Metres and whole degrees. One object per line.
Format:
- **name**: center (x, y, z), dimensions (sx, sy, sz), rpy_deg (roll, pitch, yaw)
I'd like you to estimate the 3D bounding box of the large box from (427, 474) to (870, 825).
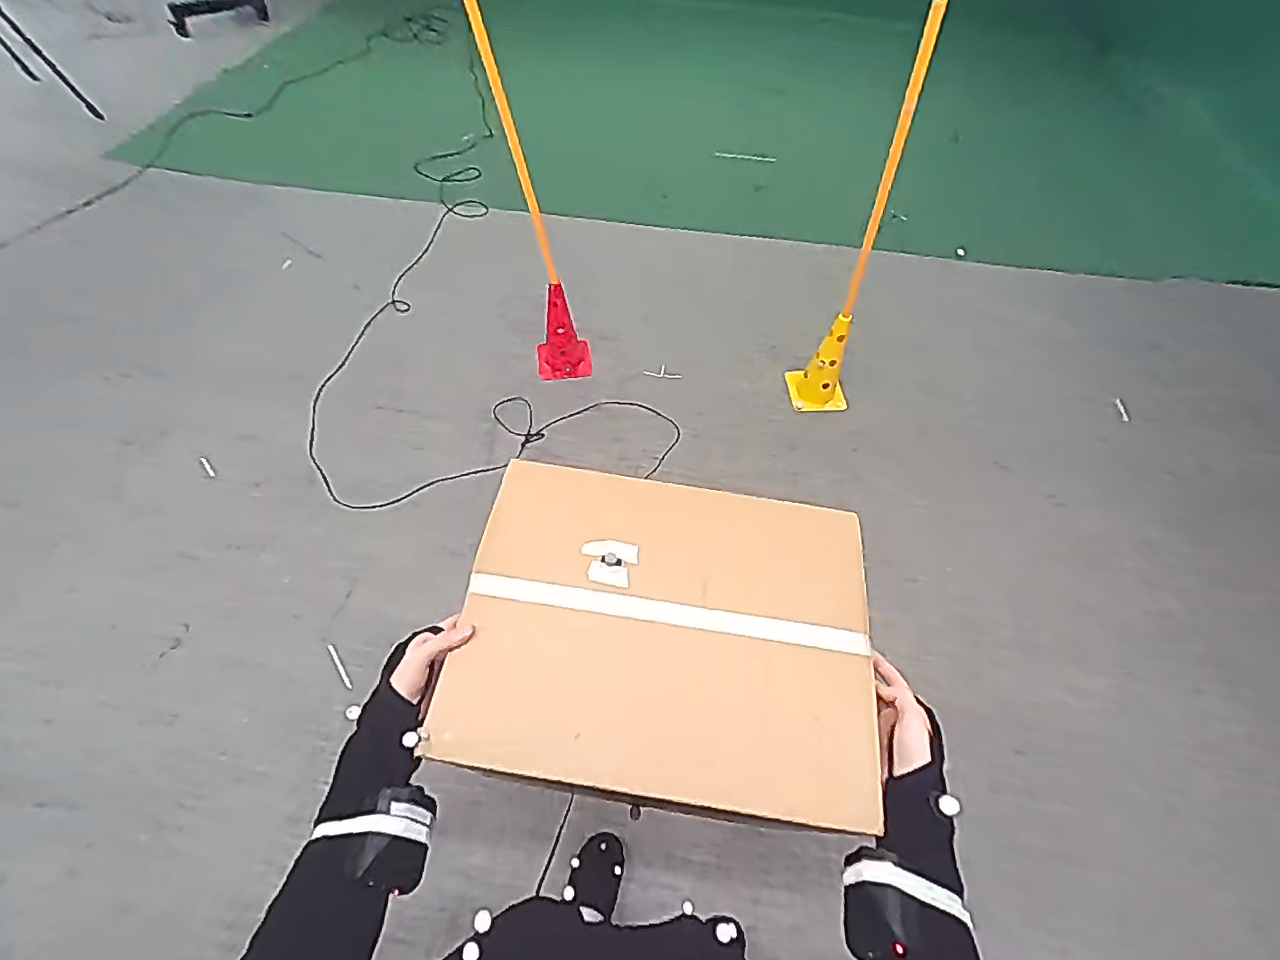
- **large box**: center (0.020, 0.223, 0.680), dimensions (0.408, 0.320, 0.320), rpy_deg (8, 57, 3)
